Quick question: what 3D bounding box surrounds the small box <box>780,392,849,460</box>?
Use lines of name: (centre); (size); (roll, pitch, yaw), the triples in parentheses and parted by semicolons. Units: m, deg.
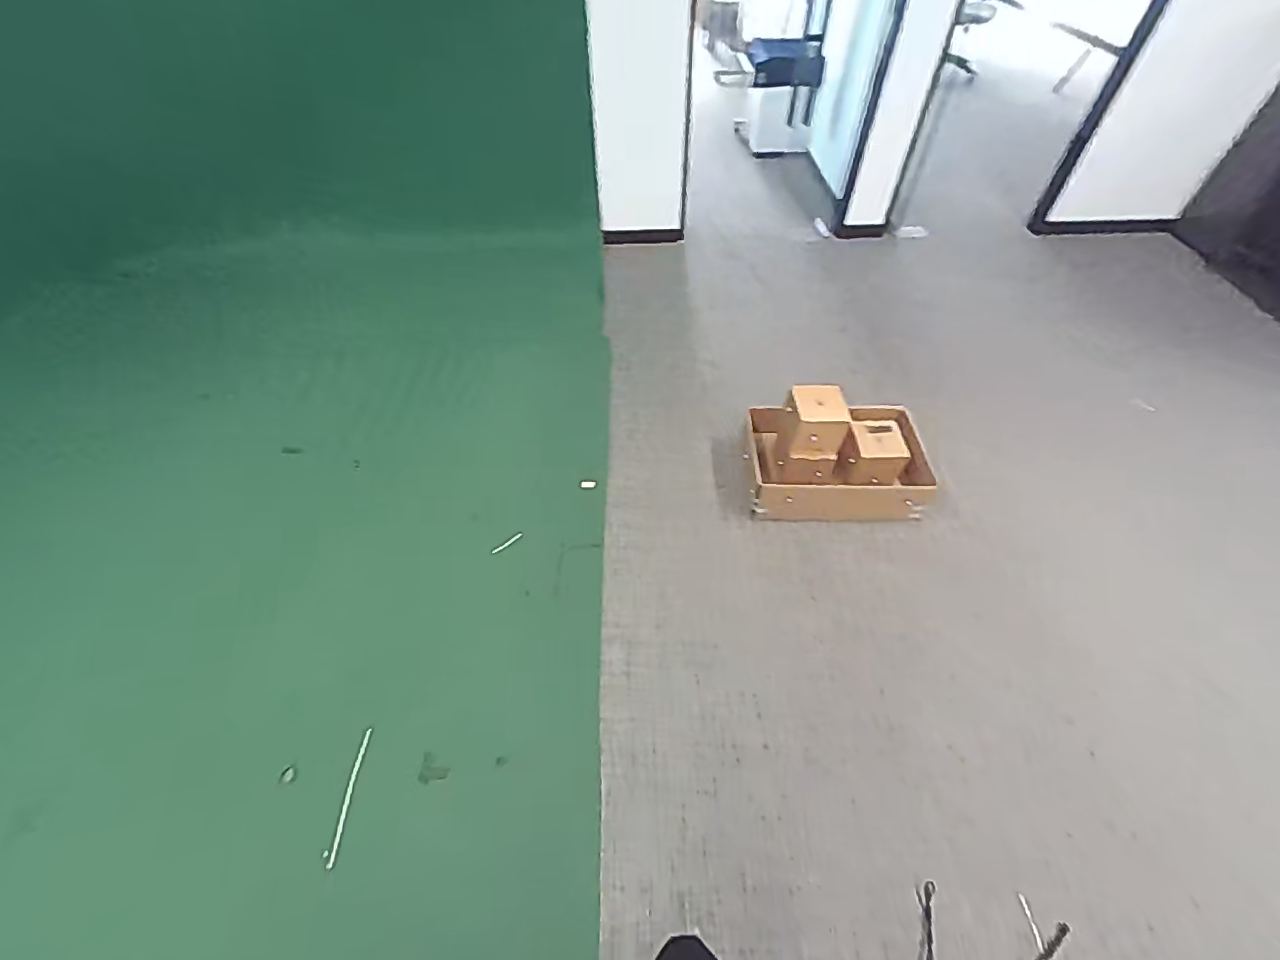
small box: (0.592, -0.182, 1.854); (0.168, 0.176, 0.179); (-1, 50, -3)

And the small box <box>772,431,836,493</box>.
small box: (0.591, -0.068, 1.969); (0.168, 0.176, 0.179); (0, 50, -2)
